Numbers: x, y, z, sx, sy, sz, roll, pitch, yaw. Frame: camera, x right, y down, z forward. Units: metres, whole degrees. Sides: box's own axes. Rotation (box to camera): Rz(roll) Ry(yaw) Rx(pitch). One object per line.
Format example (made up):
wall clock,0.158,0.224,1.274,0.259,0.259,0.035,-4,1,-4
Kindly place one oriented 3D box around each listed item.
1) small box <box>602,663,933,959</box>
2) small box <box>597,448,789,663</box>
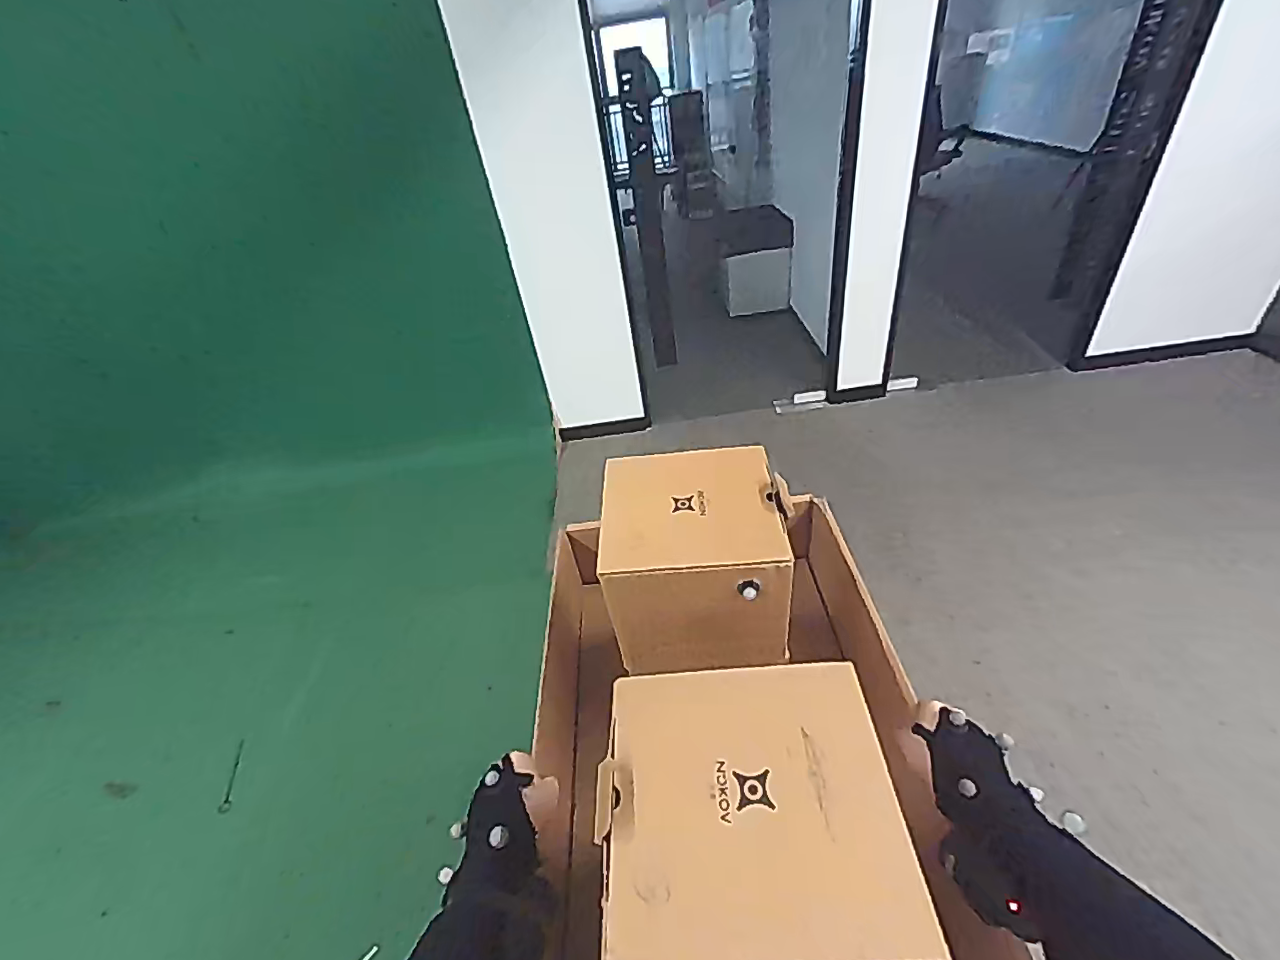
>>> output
small box,0.076,0.255,0.392,0.179,0.176,0.168,-5,41,4
small box,0.057,0.085,0.592,0.179,0.176,0.168,-4,41,4
